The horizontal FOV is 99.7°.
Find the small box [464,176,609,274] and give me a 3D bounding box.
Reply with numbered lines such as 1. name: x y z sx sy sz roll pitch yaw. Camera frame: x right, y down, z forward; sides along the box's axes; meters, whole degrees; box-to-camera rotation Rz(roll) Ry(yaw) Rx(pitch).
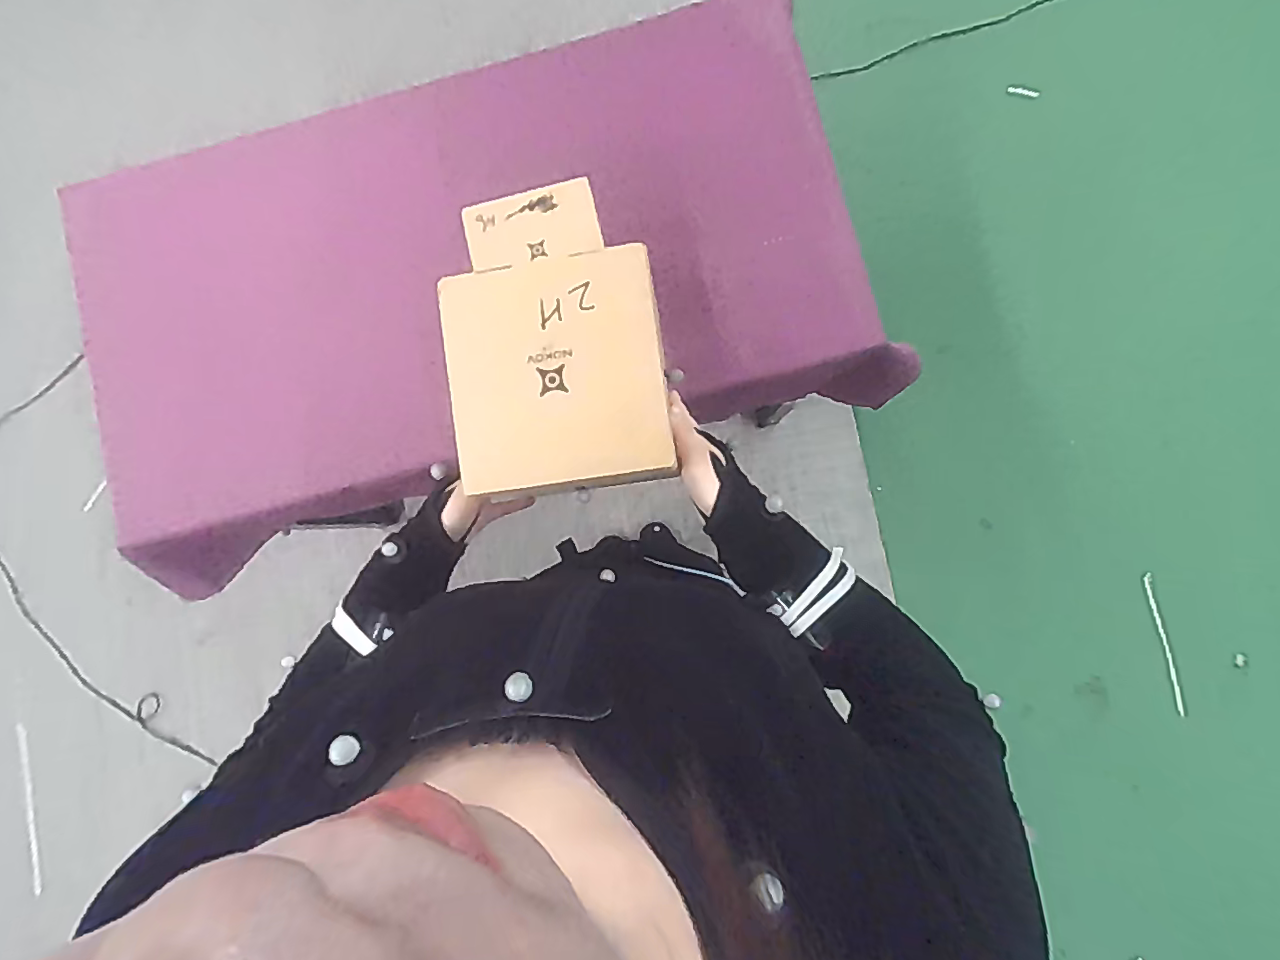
1. small box: -0.118 -0.271 0.744 0.168 0.176 0.179 -13 86 1

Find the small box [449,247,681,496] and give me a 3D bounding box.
1. small box: -0.053 -0.082 0.495 0.168 0.176 0.179 -7 88 5
